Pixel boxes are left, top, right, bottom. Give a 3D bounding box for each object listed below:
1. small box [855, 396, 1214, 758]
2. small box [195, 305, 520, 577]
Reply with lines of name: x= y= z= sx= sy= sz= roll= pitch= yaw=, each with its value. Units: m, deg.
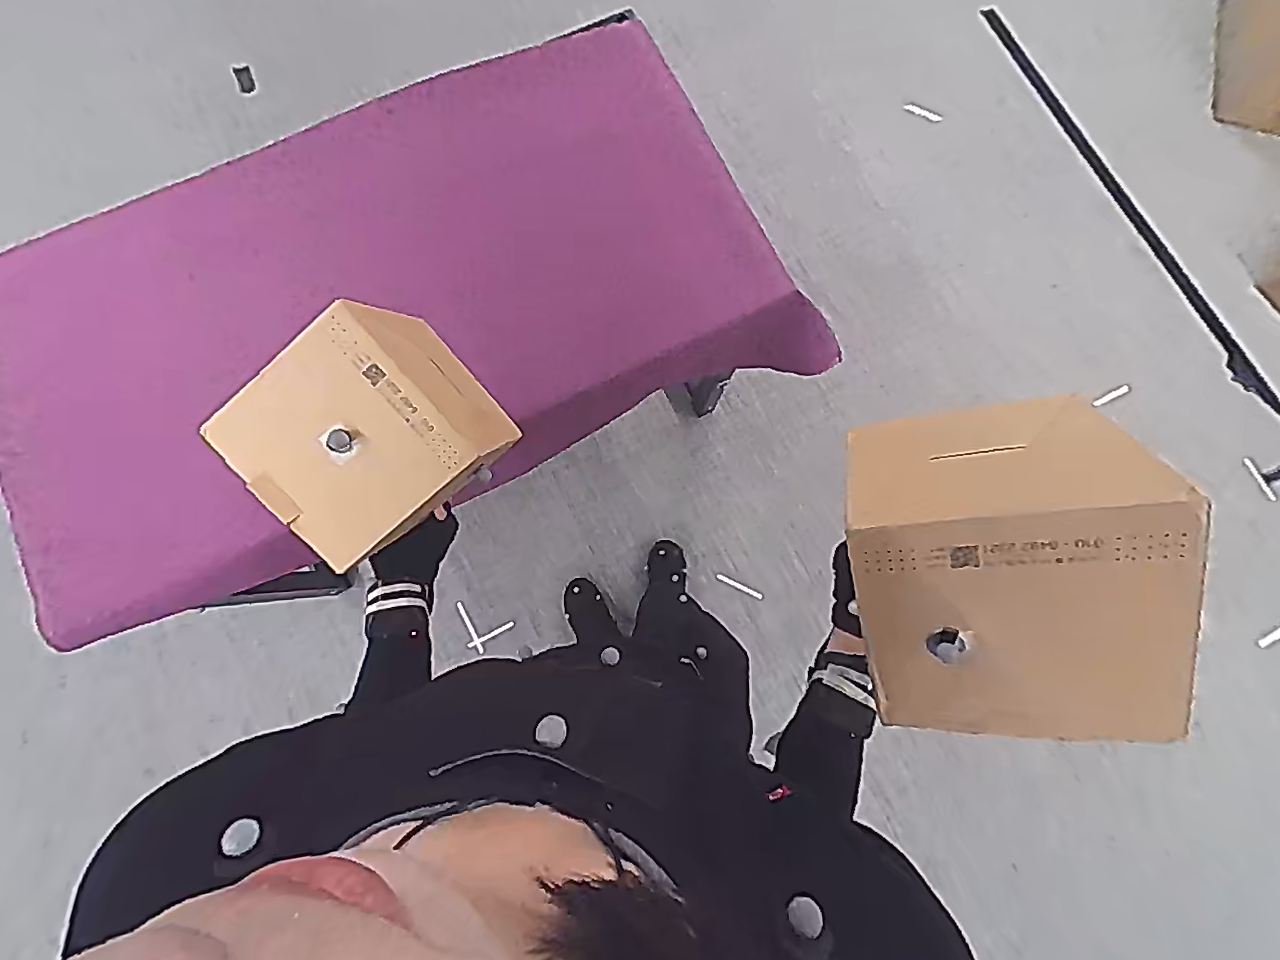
small box: x=0.247 y=0.056 z=0.378 sx=0.168 sy=0.179 sz=0.176 roll=-6 pitch=113 yaw=24
small box: x=-0.241 y=-0.044 z=0.511 sx=0.176 sy=0.179 sz=0.168 roll=-39 pitch=98 yaw=6
